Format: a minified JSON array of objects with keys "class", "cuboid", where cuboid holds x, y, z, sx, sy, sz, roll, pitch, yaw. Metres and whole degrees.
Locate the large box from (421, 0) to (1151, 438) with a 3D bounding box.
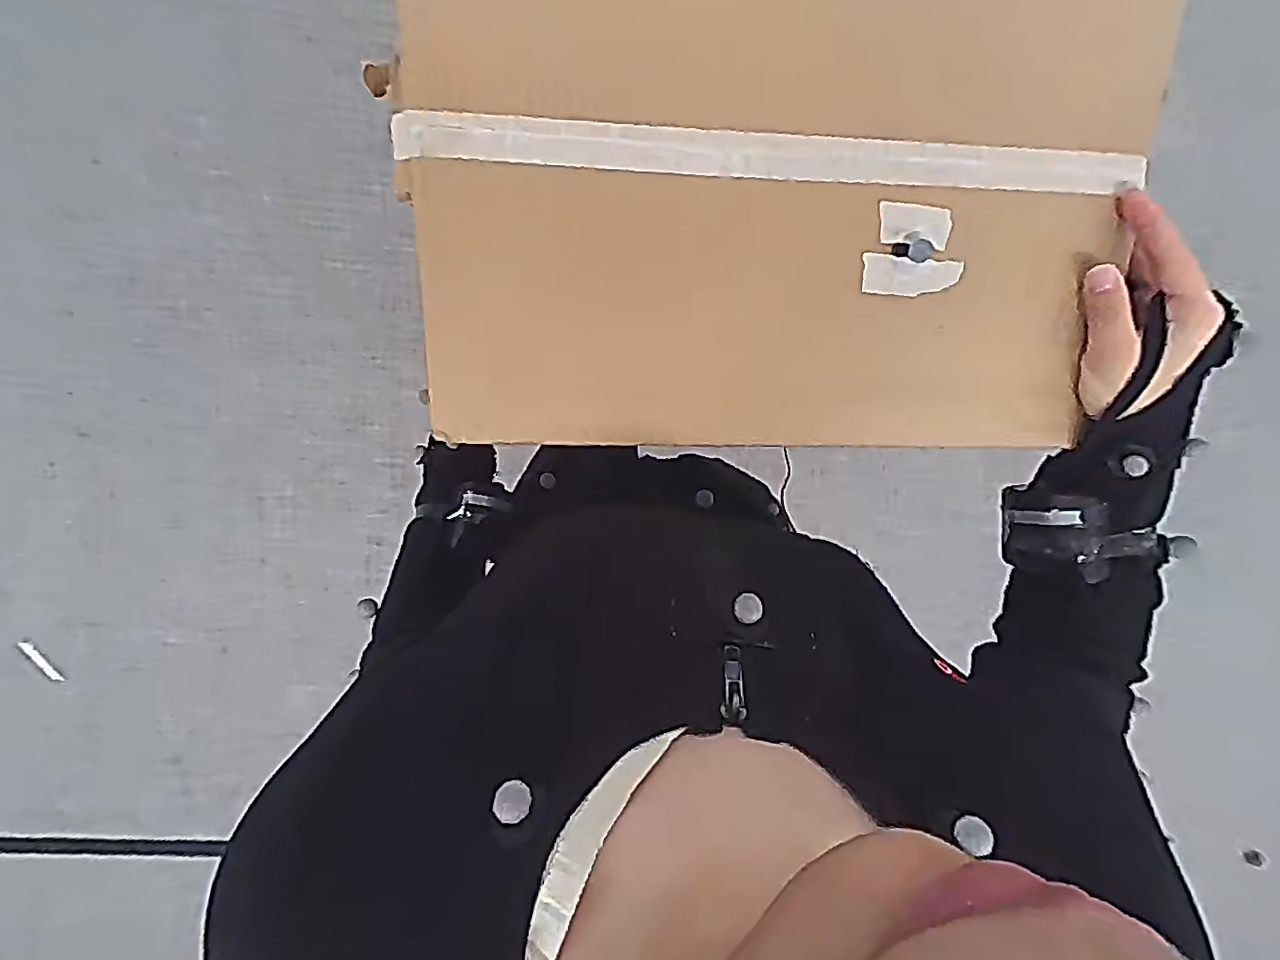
[{"class":"large box","cuboid":[0.069,-0.213,0.447,0.408,0.320,0.320,0,105,-7]}]
